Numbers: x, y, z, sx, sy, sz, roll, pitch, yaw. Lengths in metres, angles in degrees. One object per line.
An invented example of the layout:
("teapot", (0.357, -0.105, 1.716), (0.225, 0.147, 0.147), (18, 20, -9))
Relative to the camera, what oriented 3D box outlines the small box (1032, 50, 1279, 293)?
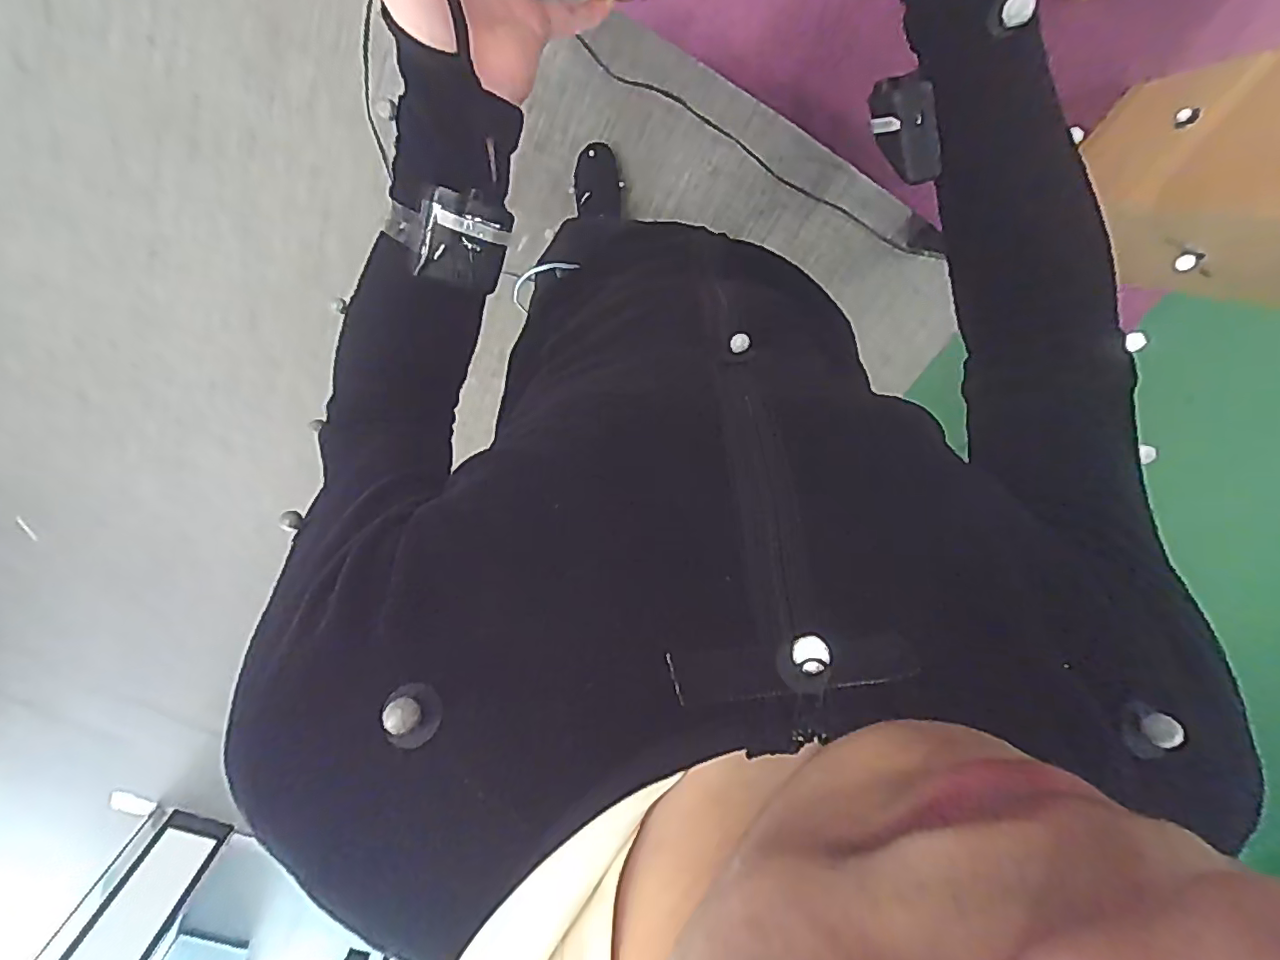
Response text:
("small box", (0.632, -0.353, 0.641), (0.179, 0.176, 0.168), (30, 113, -14))
